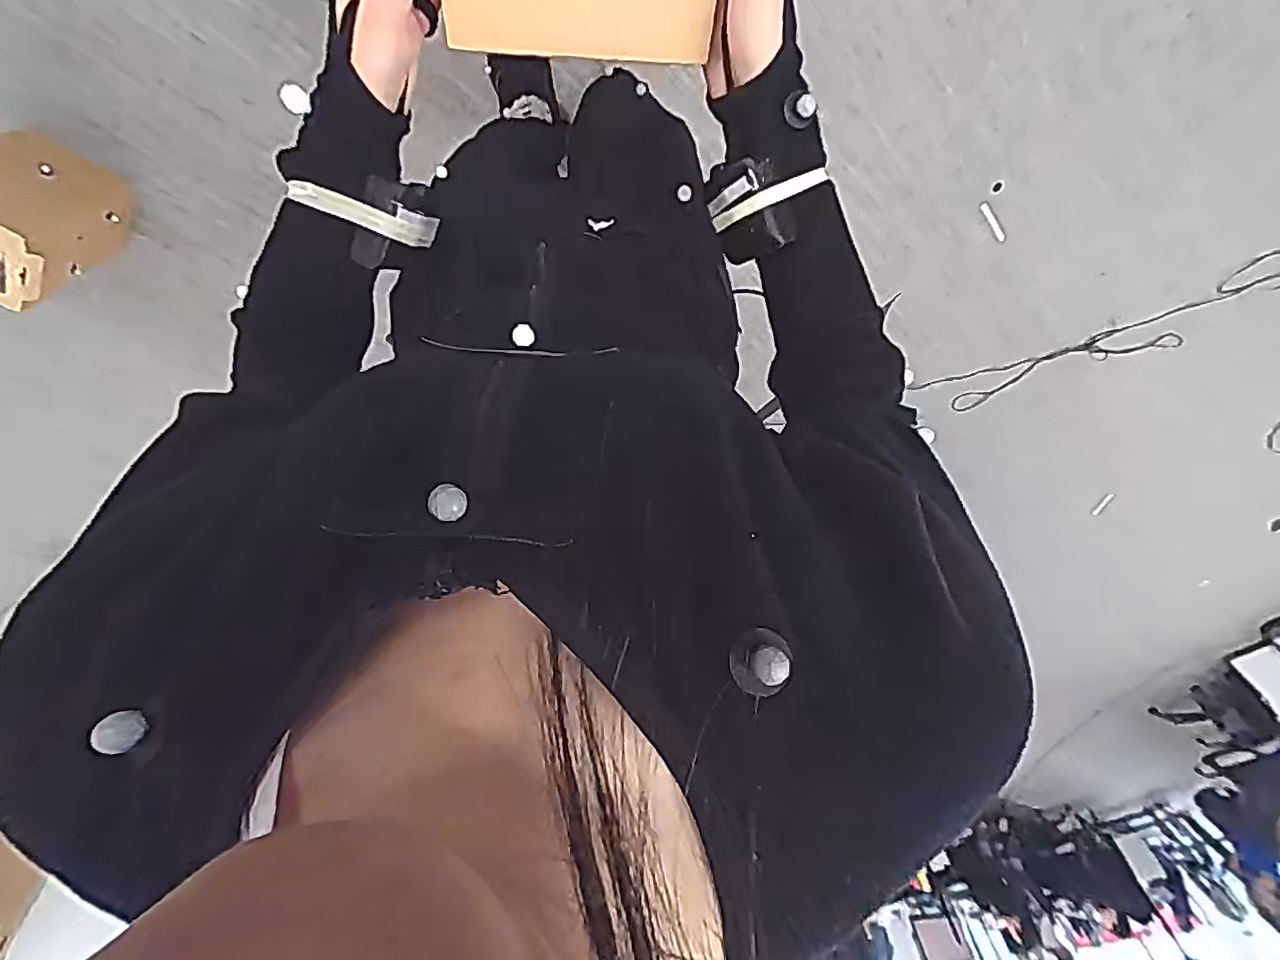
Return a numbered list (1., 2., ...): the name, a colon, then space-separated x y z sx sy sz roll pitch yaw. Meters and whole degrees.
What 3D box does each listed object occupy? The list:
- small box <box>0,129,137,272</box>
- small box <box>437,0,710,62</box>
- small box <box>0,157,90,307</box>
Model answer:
1. small box: -1.156 -0.558 1.075 0.179 0.176 0.168 26 124 -28
2. small box: -0.042 -0.387 0.329 0.168 0.176 0.179 -3 138 -8
3. small box: -1.133 -0.448 0.954 0.179 0.176 0.168 27 124 -29
